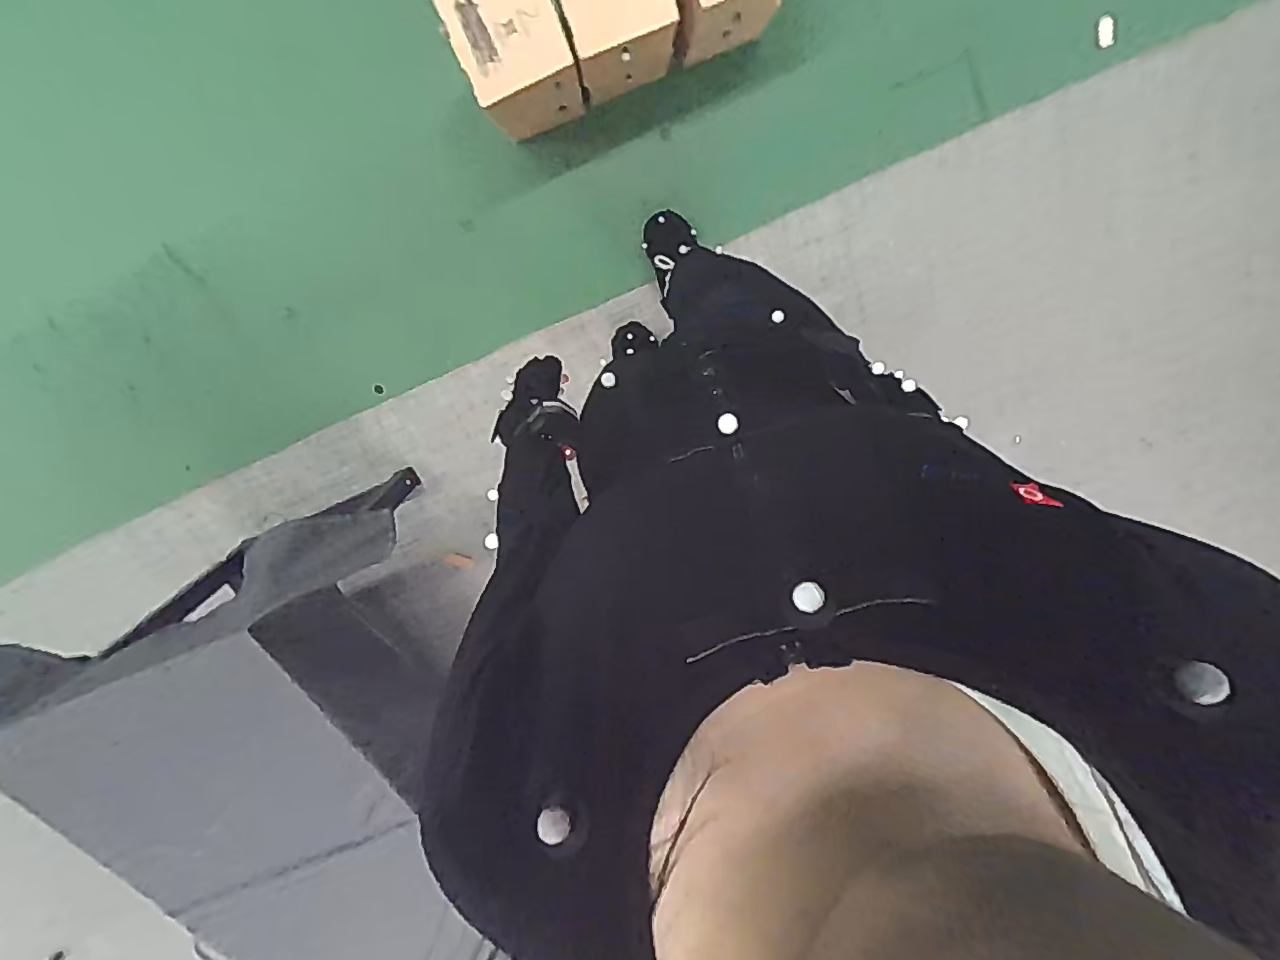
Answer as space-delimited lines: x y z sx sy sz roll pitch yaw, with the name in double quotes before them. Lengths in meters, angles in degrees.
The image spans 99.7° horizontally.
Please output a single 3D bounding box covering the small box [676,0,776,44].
"small box" 0.150 -0.889 0.911 0.179 0.176 0.168 -22 111 6
